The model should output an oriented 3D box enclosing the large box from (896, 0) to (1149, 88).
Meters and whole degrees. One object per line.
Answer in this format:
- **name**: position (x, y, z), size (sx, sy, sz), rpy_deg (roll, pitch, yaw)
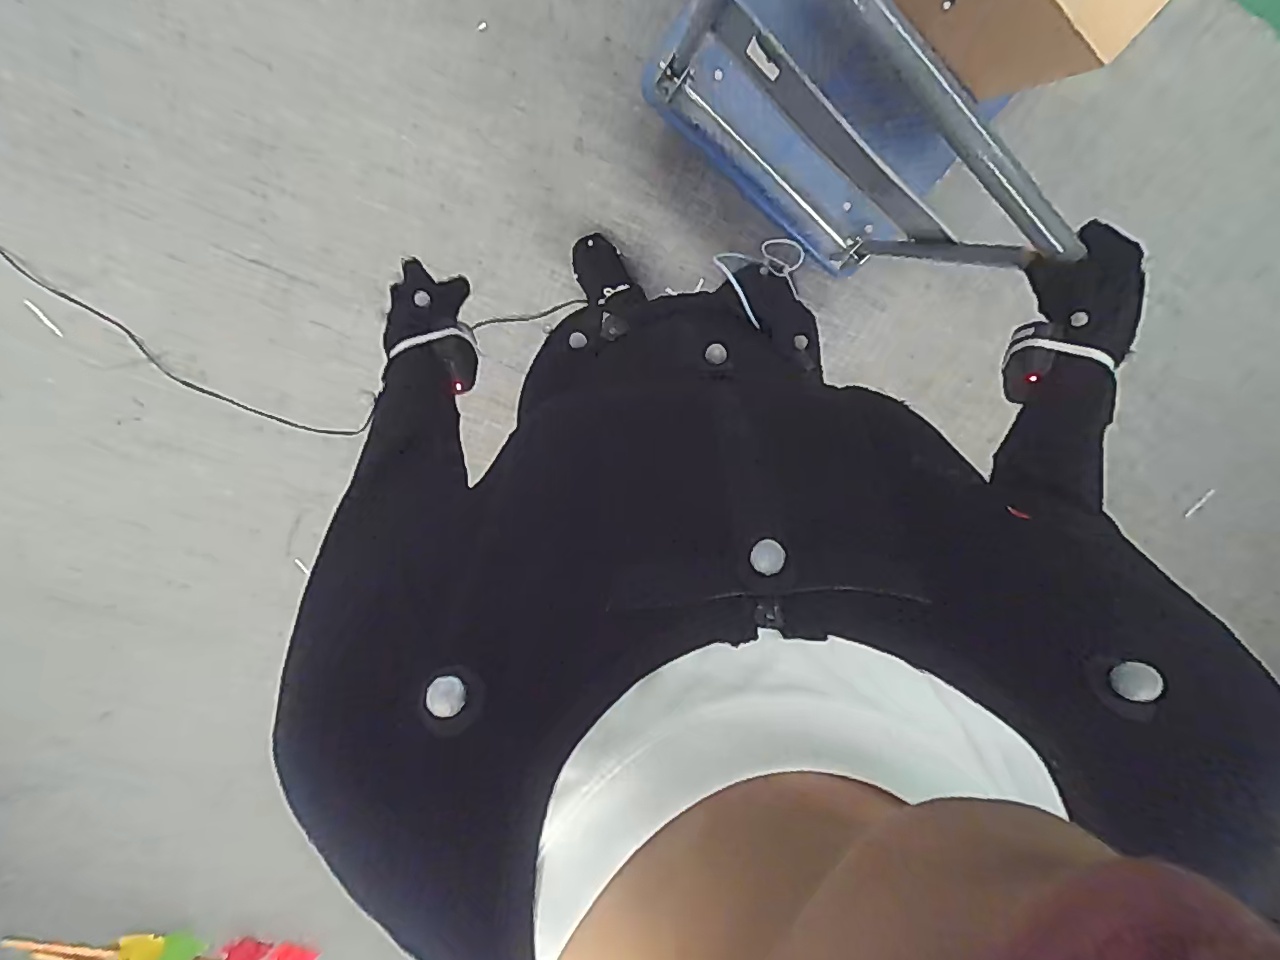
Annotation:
- **large box**: position (0.575, -0.876, 0.786), size (0.408, 0.320, 0.320), rpy_deg (32, 111, -16)
